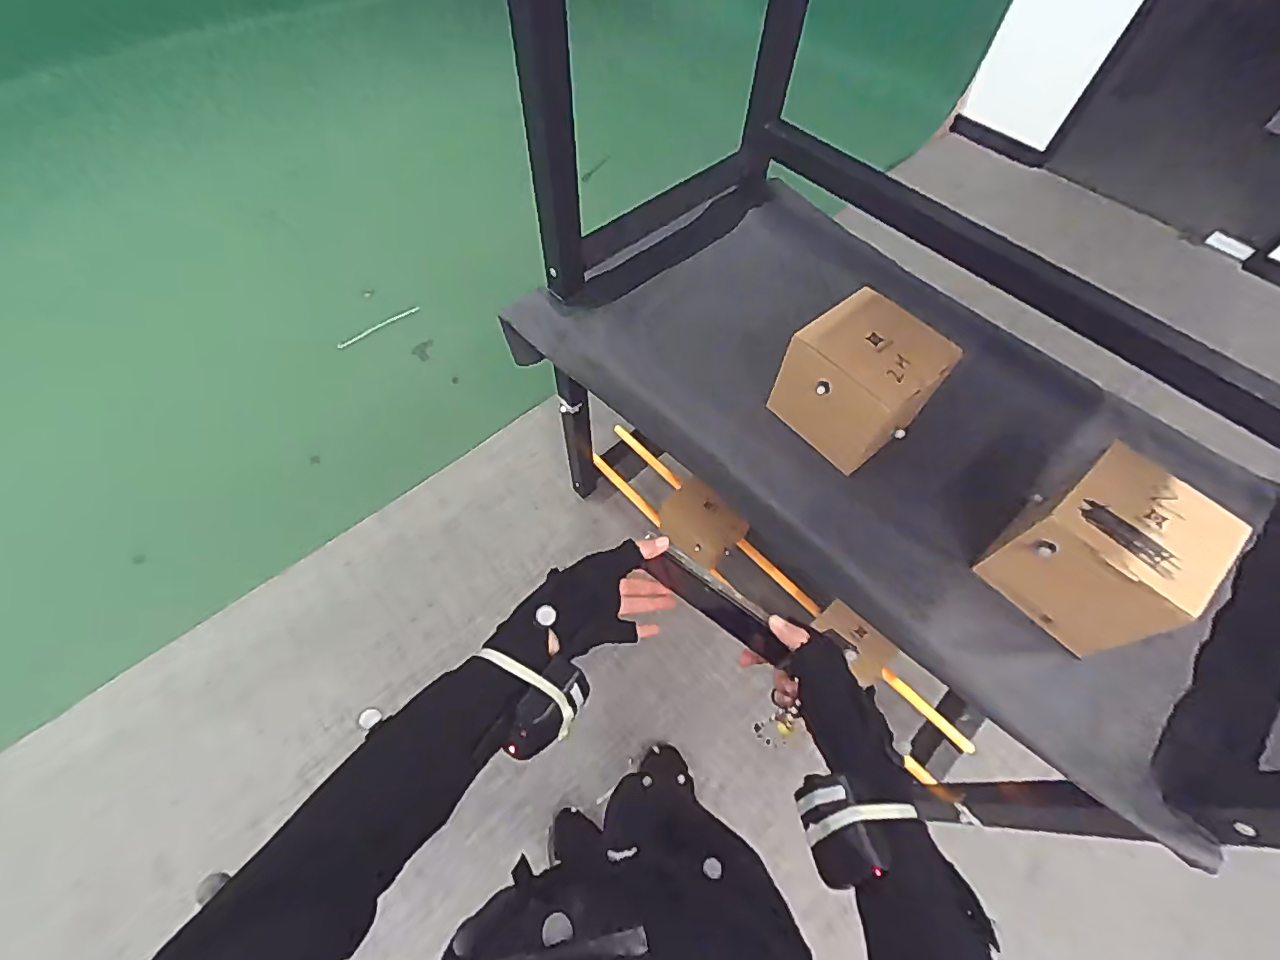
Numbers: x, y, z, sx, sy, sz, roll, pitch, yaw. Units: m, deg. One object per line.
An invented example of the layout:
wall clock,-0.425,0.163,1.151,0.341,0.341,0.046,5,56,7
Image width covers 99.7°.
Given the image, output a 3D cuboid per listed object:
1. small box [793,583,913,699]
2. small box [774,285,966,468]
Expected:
small box,0.473,0.373,1.234,0.179,0.176,0.168,-35,67,-20
small box,0.330,-0.151,0.814,0.168,0.176,0.179,-36,67,-20
